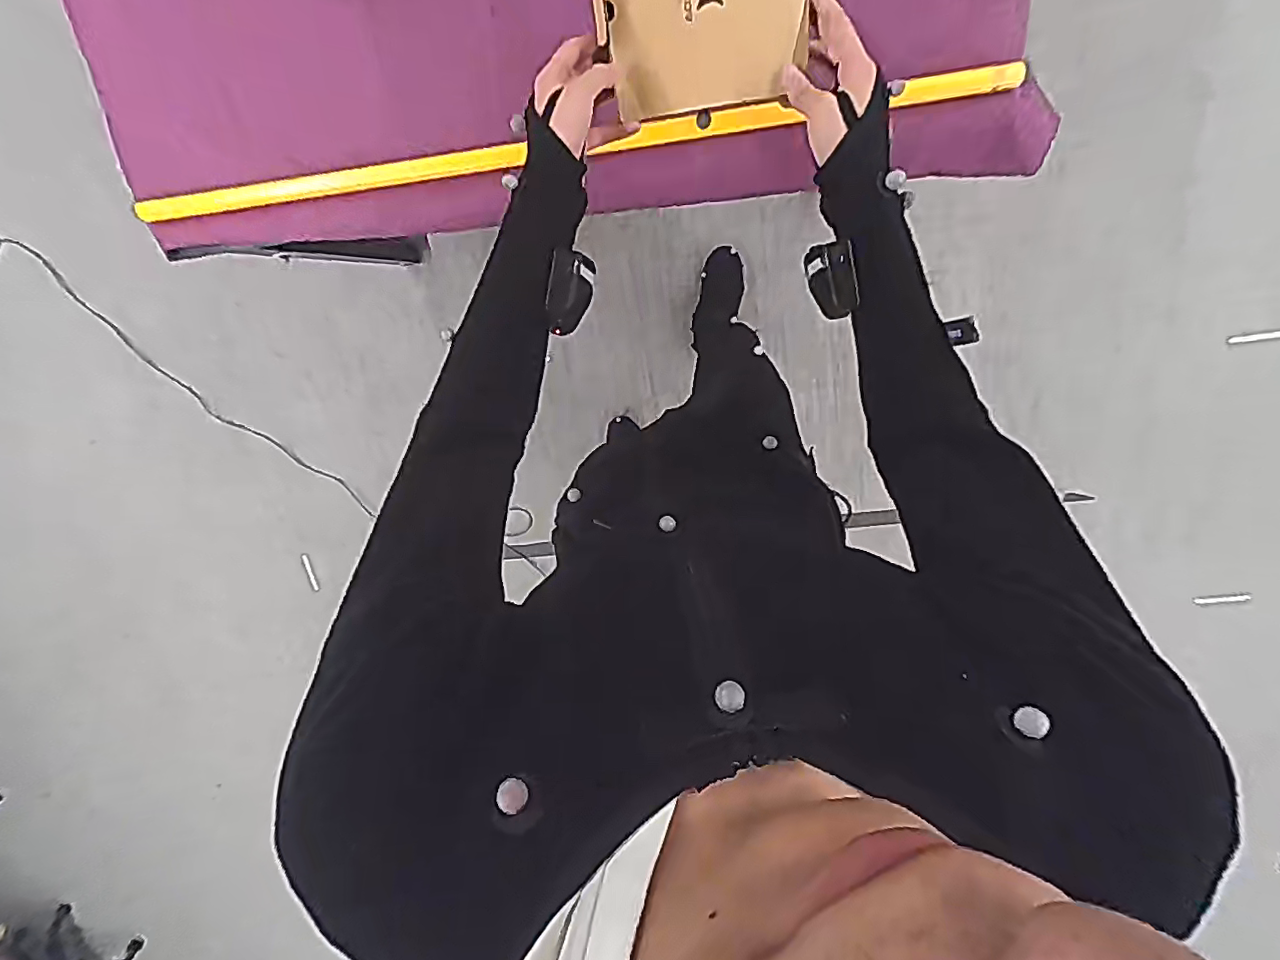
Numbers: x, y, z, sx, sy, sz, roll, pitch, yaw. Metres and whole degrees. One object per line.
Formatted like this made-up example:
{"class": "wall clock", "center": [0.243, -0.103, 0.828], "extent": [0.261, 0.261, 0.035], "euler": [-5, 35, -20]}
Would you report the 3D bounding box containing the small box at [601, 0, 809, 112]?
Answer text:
{"class": "small box", "center": [0.059, -0.465, 0.514], "extent": [0.179, 0.176, 0.168], "euler": [-3, 125, 10]}
